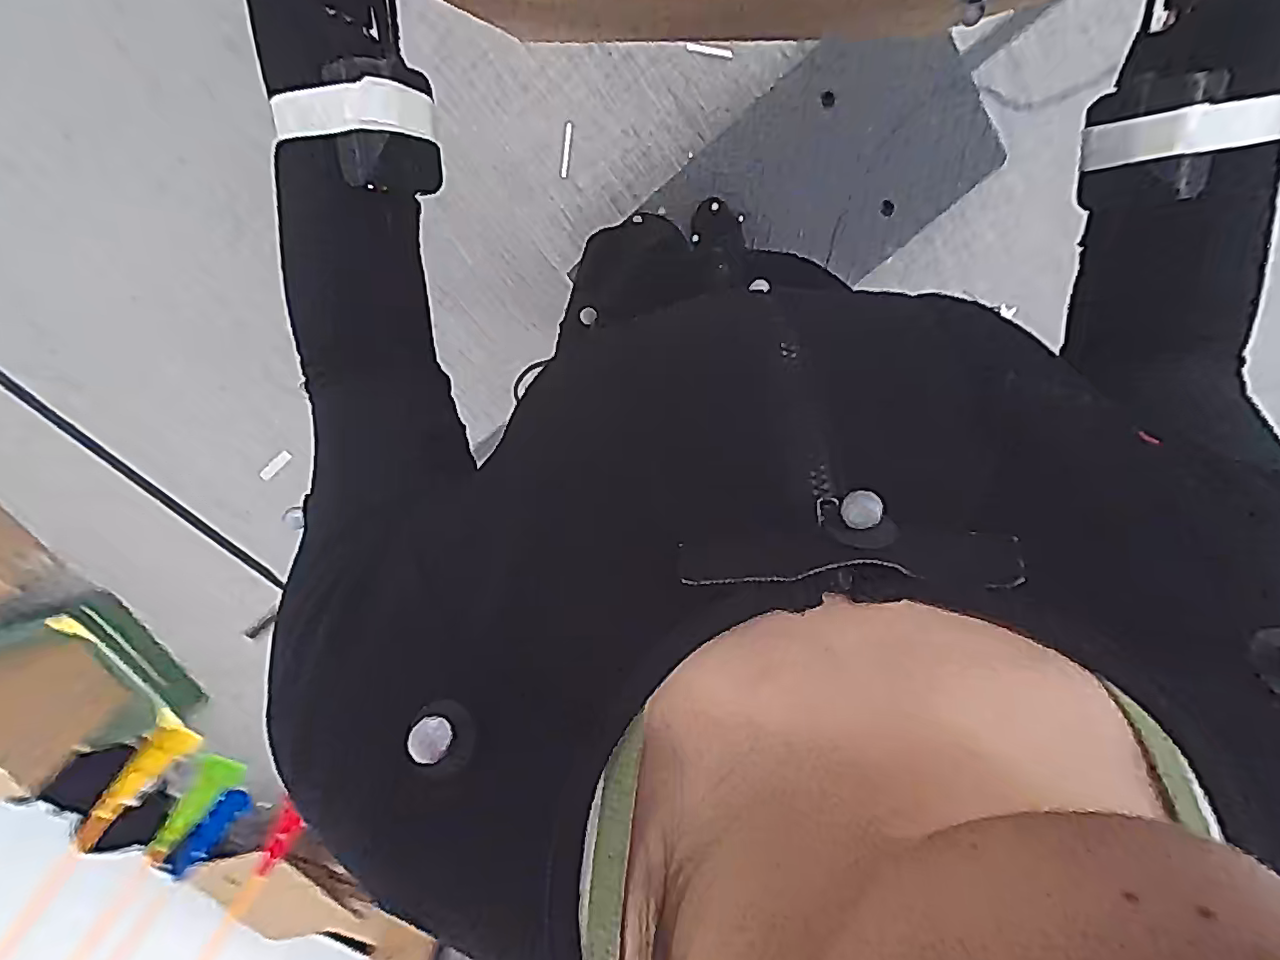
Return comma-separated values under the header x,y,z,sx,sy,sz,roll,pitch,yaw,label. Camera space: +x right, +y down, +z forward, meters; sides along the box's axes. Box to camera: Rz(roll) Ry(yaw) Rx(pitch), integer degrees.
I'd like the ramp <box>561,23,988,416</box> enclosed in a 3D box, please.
x,y,z,sx,sy,sz,roll,pitch,yaw,label
0.331,-0.652,1.327,0.991,0.206,0.509,-37,110,18,ramp

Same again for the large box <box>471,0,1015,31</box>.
x,y,z,sx,sy,sz,roll,pitch,yaw,label
0.079,-0.484,0.329,0.408,0.320,0.320,1,124,0,large box
